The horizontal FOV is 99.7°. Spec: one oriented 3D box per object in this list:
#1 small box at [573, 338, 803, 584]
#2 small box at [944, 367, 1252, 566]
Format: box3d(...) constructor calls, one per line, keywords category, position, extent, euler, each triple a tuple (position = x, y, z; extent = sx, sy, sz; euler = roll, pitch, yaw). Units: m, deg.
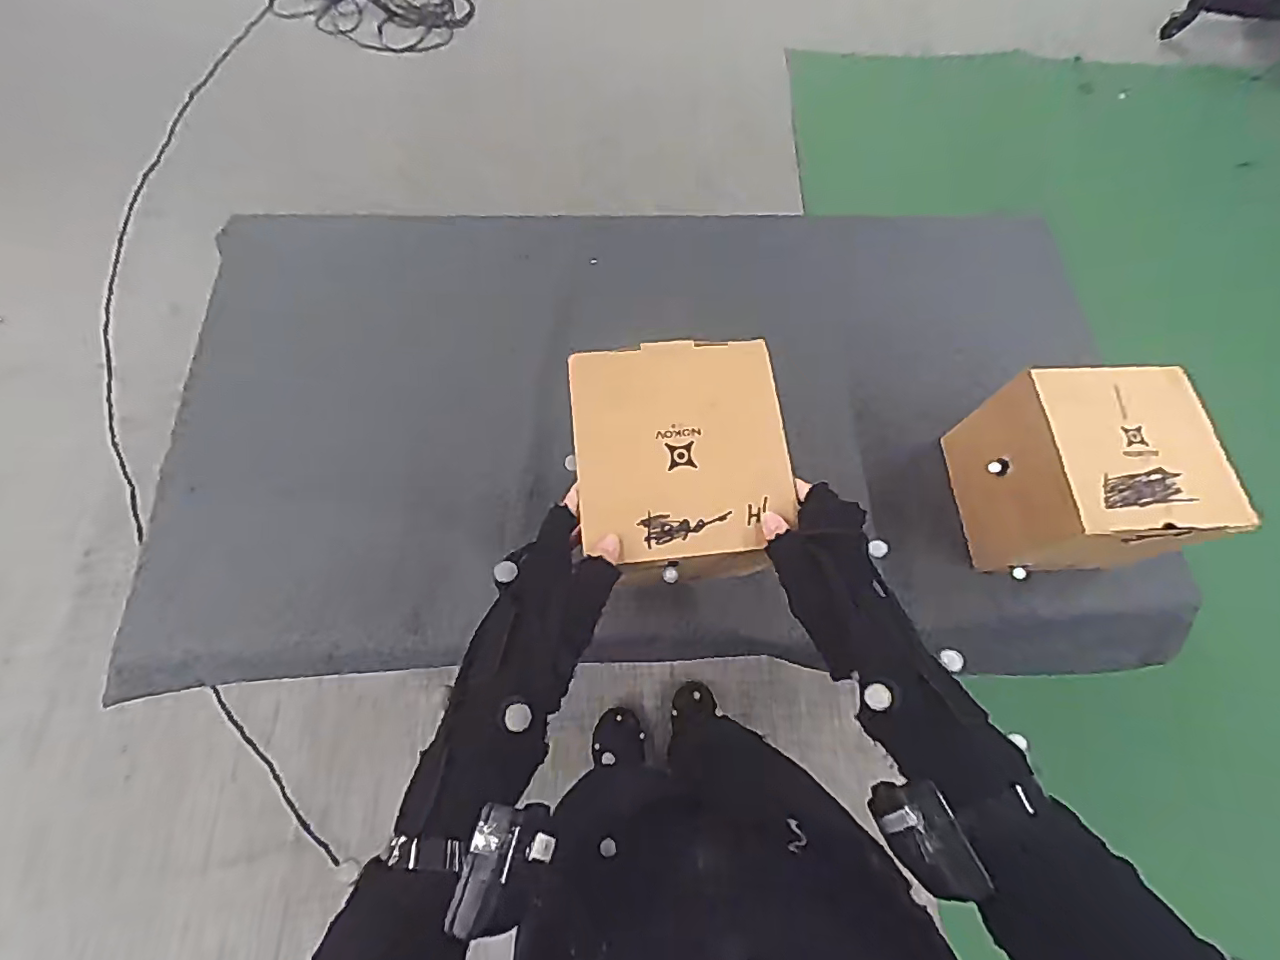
box3d(category="small box", position=(0.030, -0.007, 0.498), extent=(0.168, 0.176, 0.179), euler=(-6, 74, -3))
box3d(category="small box", position=(0.472, -0.005, 0.594), extent=(0.168, 0.176, 0.179), euler=(-1, 68, -3))
